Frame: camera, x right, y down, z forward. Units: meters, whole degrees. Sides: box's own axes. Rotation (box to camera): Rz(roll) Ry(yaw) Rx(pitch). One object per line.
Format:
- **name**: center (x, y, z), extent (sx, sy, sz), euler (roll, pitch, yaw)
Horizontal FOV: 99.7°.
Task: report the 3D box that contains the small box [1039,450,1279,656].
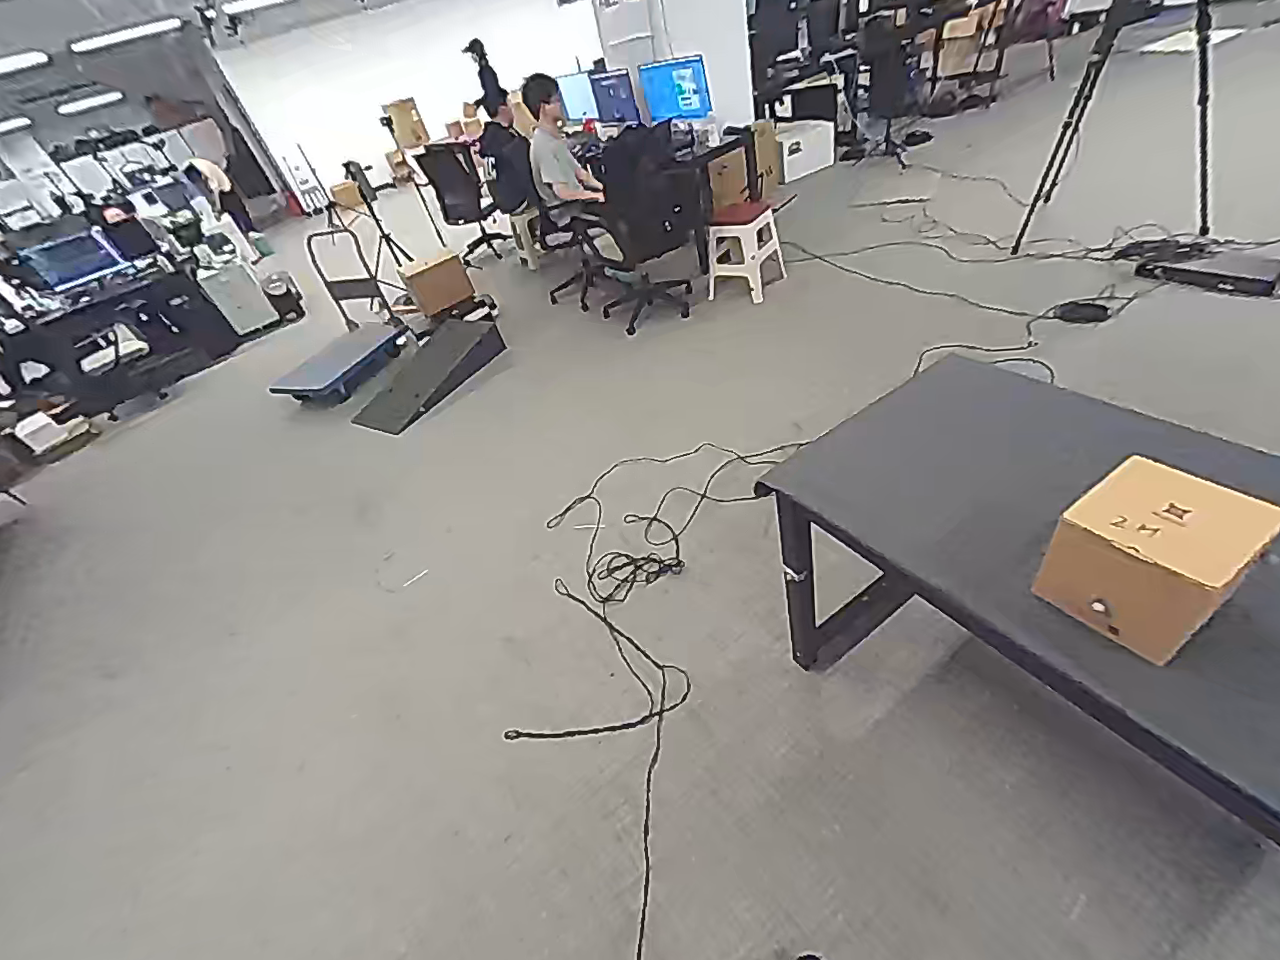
- **small box**: center (0.683, 0.096, 0.727), extent (0.179, 0.176, 0.168), euler (-31, 41, -16)
